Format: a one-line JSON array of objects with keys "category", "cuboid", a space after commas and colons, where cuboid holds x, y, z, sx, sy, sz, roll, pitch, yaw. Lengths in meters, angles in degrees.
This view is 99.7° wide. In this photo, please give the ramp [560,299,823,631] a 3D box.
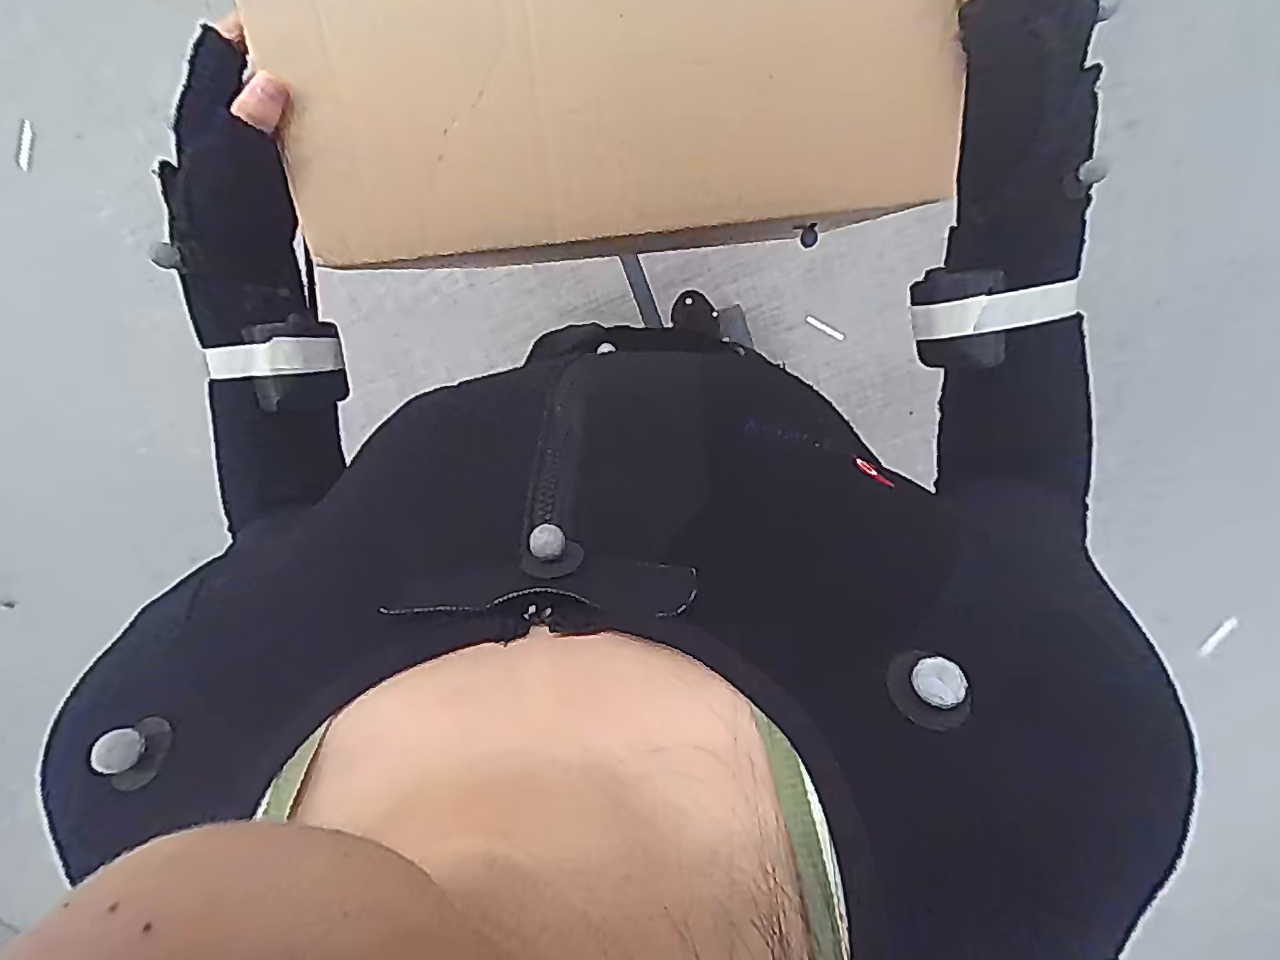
[{"category": "ramp", "cuboid": [0.196, 0.028, 1.607, 0.509, 0.206, 0.991, -22, 105, 9]}]

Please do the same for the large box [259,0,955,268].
[{"category": "large box", "cuboid": [-0.017, -0.355, 0.434, 0.408, 0.320, 0.320, -3, 111, 5]}]
